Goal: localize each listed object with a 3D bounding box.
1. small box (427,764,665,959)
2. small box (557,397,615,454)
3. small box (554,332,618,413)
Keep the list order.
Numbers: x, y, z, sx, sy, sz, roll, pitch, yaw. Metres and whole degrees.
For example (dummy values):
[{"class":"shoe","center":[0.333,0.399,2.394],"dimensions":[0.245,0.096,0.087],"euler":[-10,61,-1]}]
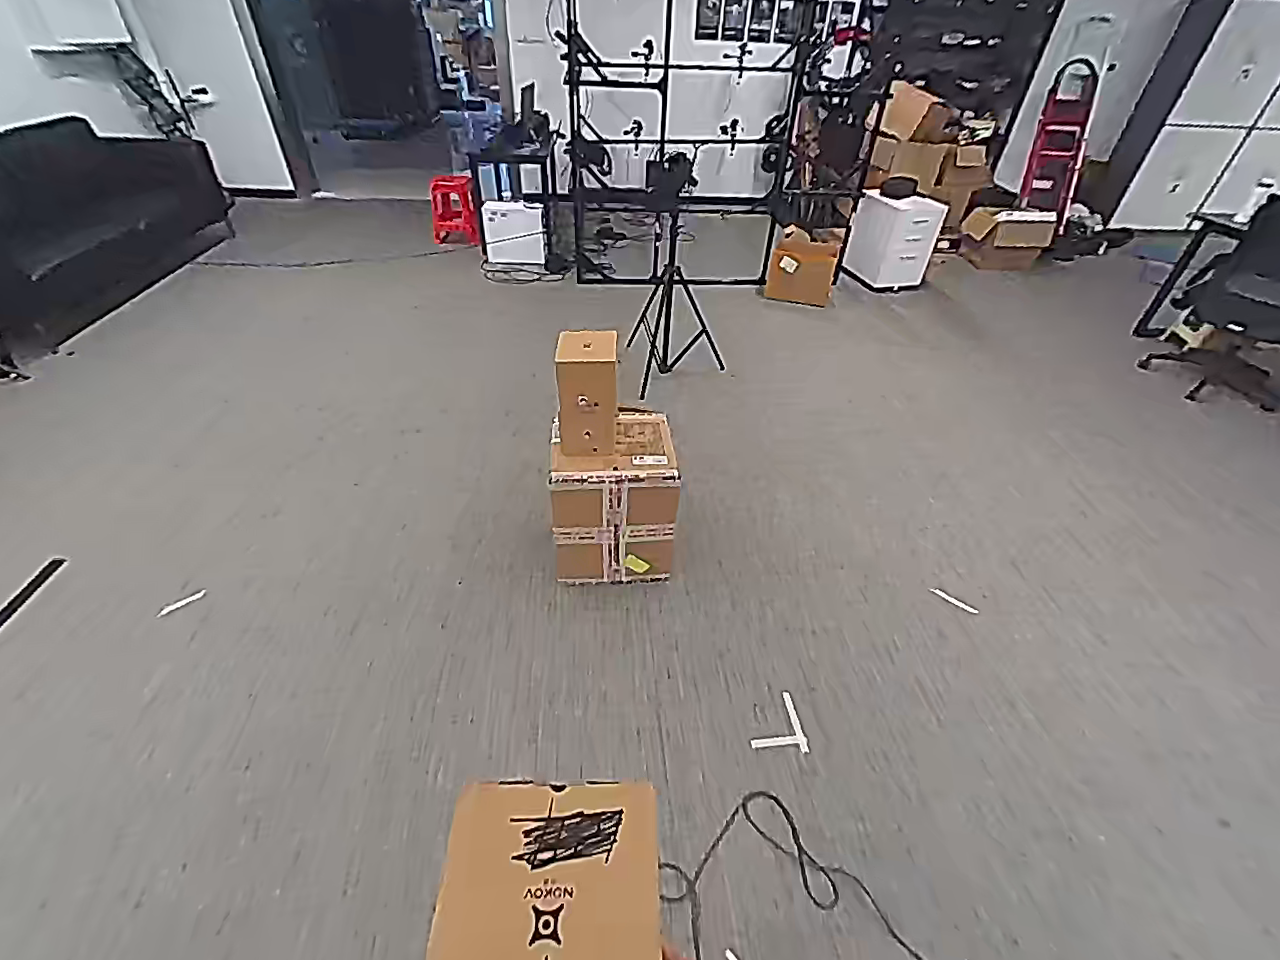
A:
[{"class":"small box","center":[-0.070,0.363,0.454],"dimensions":[0.168,0.176,0.179],"euler":[2,42,-3]},{"class":"small box","center":[-0.161,-0.193,1.671],"dimensions":[0.168,0.176,0.179],"euler":[-1,43,-2]},{"class":"small box","center":[-0.150,-0.309,1.556],"dimensions":[0.168,0.176,0.179],"euler":[-2,43,-1]}]
